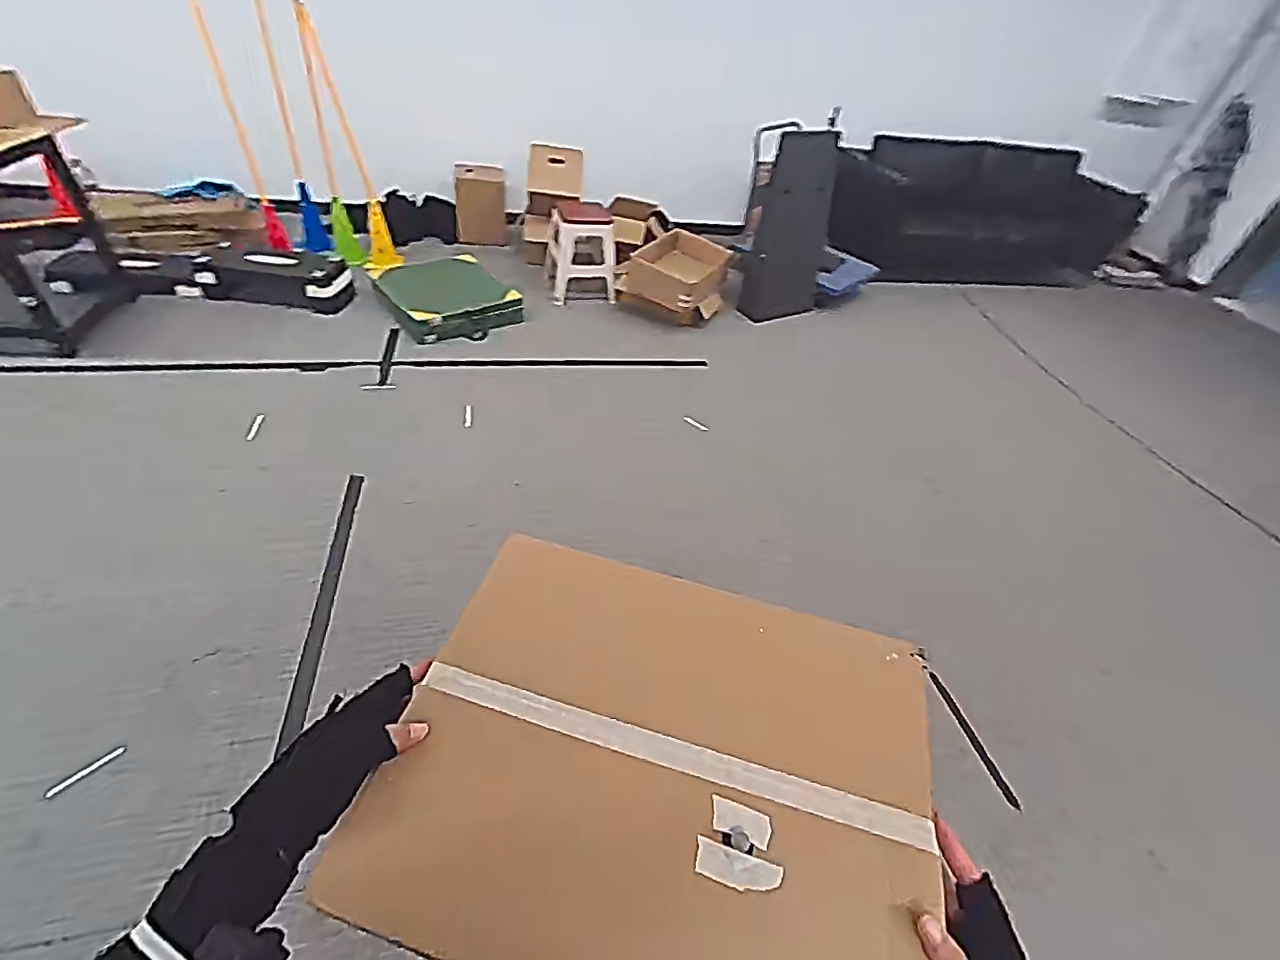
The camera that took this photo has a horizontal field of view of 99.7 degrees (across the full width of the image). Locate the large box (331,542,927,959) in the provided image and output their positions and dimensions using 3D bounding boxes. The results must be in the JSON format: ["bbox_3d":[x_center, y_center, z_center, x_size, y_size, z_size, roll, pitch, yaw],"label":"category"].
[{"bbox_3d":[0.009,0.315,0.543,0.408,0.320,0.320,15,48,9],"label":"large box"}]
